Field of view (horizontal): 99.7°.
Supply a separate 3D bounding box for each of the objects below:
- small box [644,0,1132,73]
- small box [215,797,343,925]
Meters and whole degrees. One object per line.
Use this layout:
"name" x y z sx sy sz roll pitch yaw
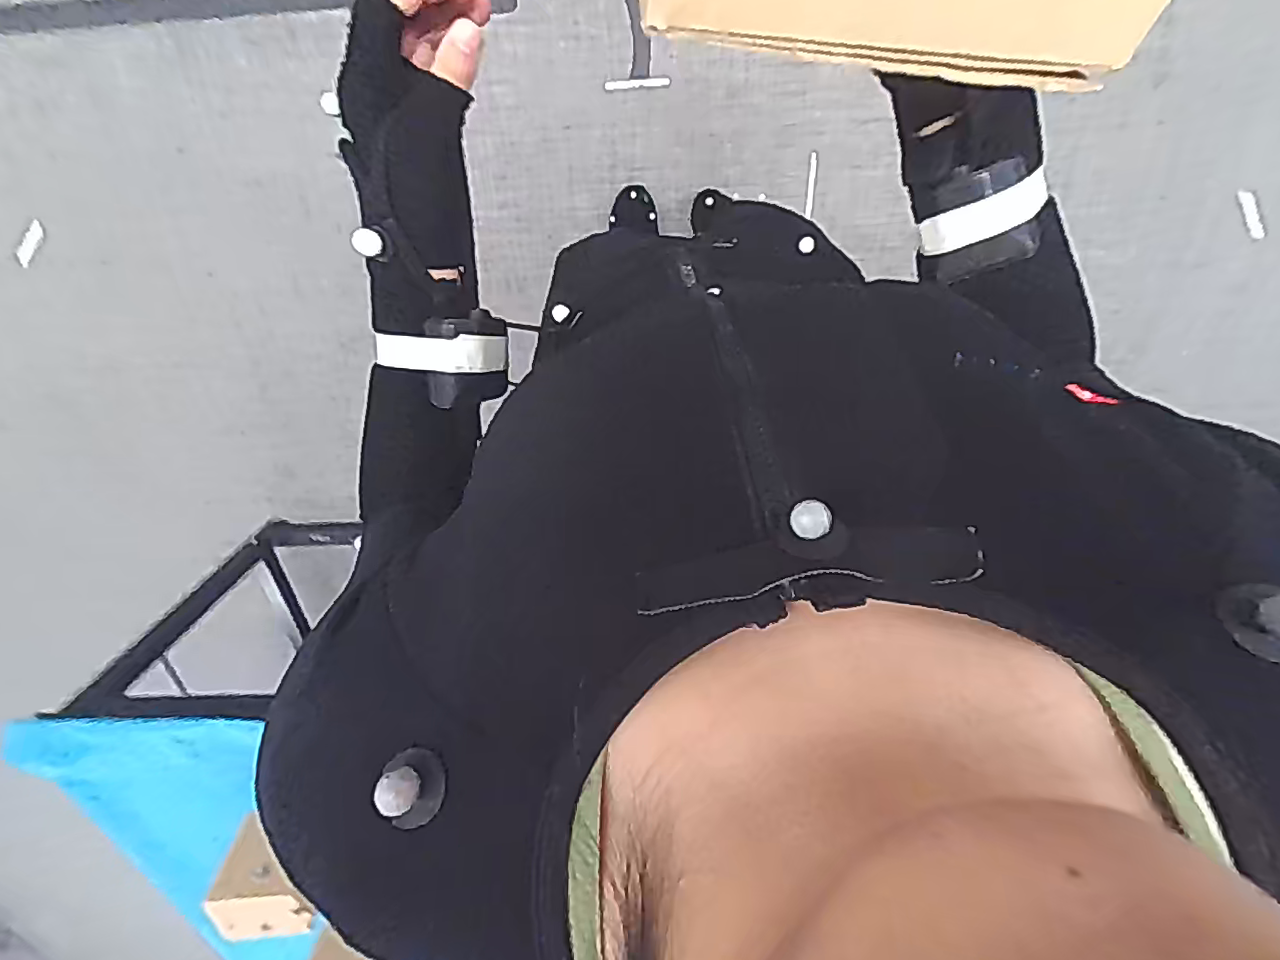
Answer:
"small box" 0.090 -0.264 0.171 0.179 0.168 0.176 0 145 -5
"small box" -0.778 0.823 1.169 0.176 0.179 0.168 1 119 -8
